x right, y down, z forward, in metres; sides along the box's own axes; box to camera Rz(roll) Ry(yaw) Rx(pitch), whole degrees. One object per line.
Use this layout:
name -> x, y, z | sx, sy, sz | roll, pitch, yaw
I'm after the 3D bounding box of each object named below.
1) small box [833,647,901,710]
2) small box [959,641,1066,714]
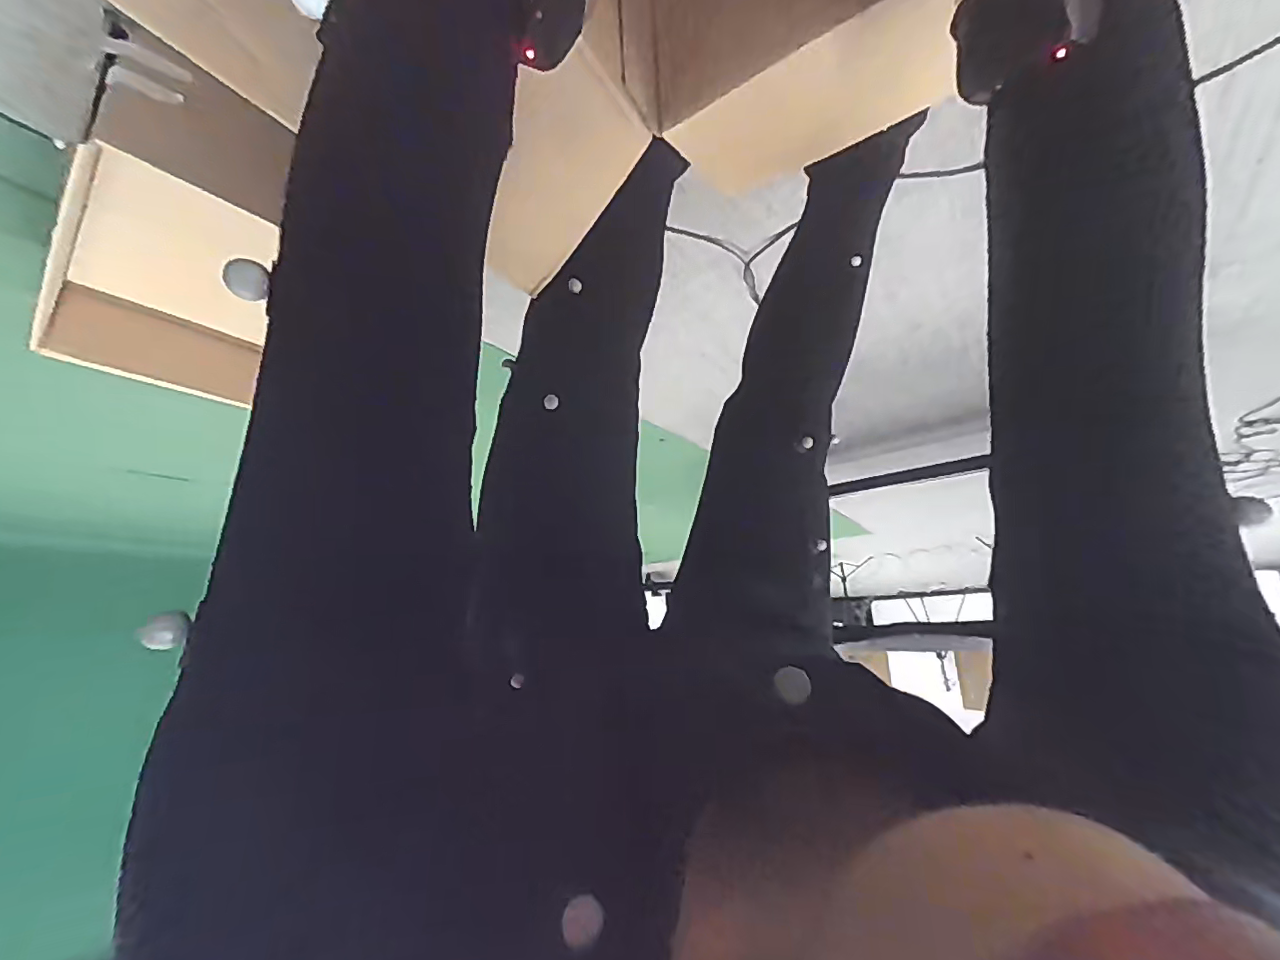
small box -> 0.693, 0.604, 1.655 | 0.168, 0.176, 0.179 | -10, 161, 21
small box -> 0.999, 0.526, 1.457 | 0.168, 0.176, 0.179 | 10, 159, -34
